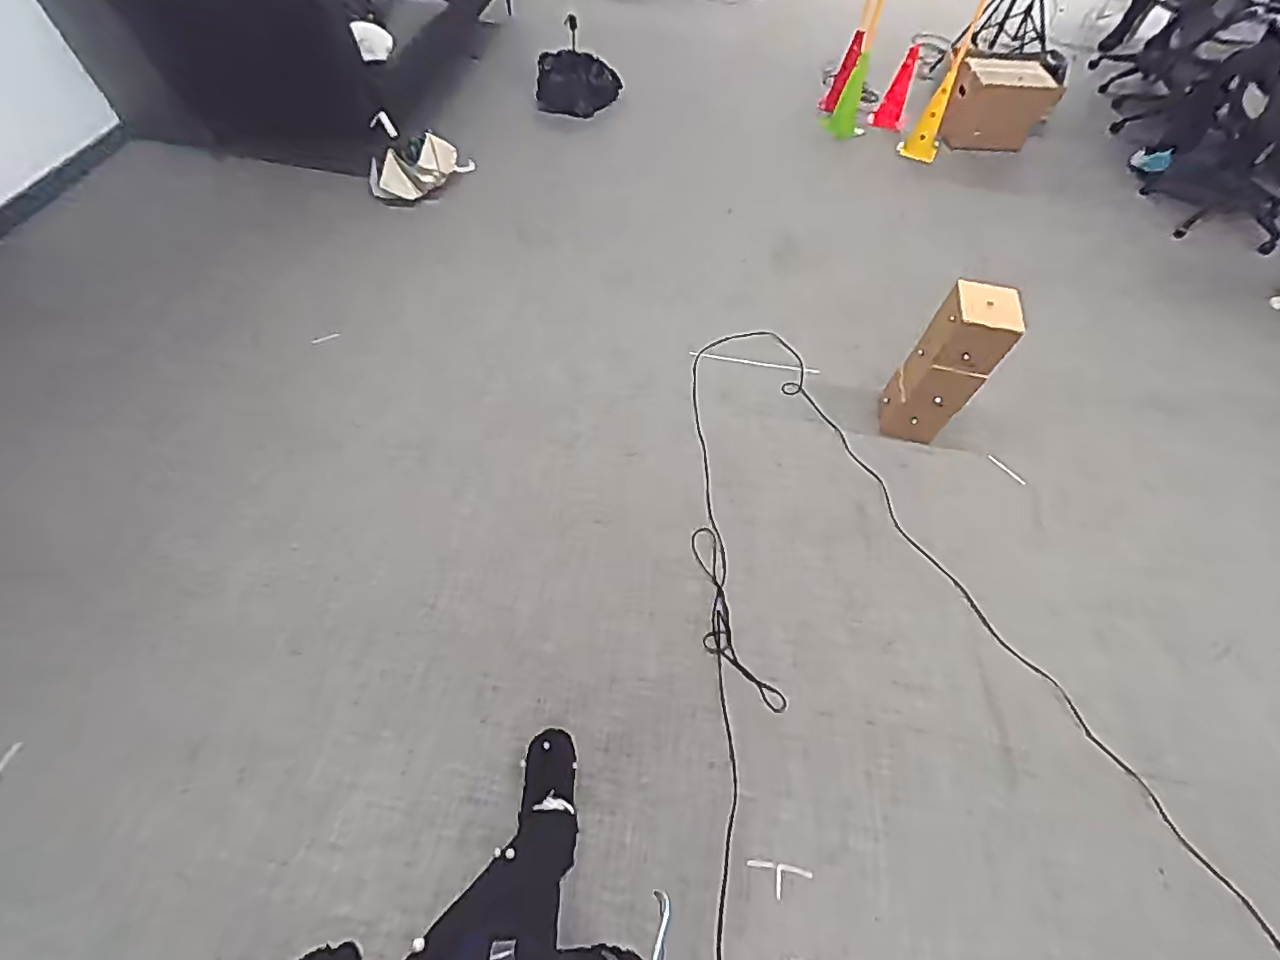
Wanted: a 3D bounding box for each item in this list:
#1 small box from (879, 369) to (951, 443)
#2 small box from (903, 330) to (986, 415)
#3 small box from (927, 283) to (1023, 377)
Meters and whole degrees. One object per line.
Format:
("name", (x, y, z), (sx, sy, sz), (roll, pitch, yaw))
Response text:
("small box", (0.915, -0.244, 1.810), (0.179, 0.176, 0.168), (12, 58, 4))
("small box", (0.931, -0.331, 1.670), (0.168, 0.176, 0.179), (13, 58, 4))
("small box", (0.941, -0.425, 1.538), (0.168, 0.176, 0.179), (12, 58, 4))
